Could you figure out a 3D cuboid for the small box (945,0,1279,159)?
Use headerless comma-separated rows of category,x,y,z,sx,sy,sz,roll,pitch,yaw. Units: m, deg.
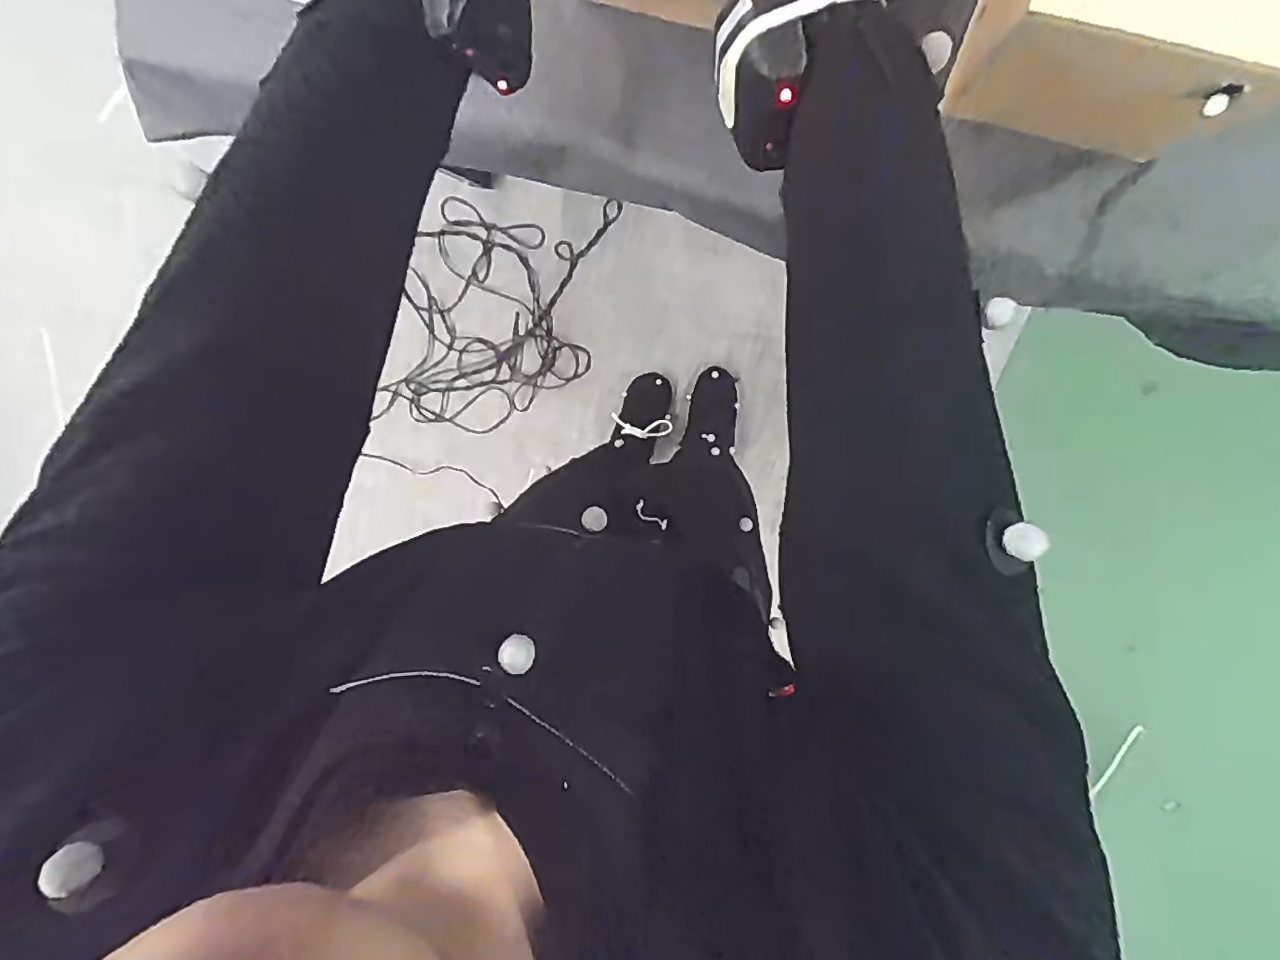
small box,0.339,-0.335,0.352,0.179,0.176,0.168,18,110,5
